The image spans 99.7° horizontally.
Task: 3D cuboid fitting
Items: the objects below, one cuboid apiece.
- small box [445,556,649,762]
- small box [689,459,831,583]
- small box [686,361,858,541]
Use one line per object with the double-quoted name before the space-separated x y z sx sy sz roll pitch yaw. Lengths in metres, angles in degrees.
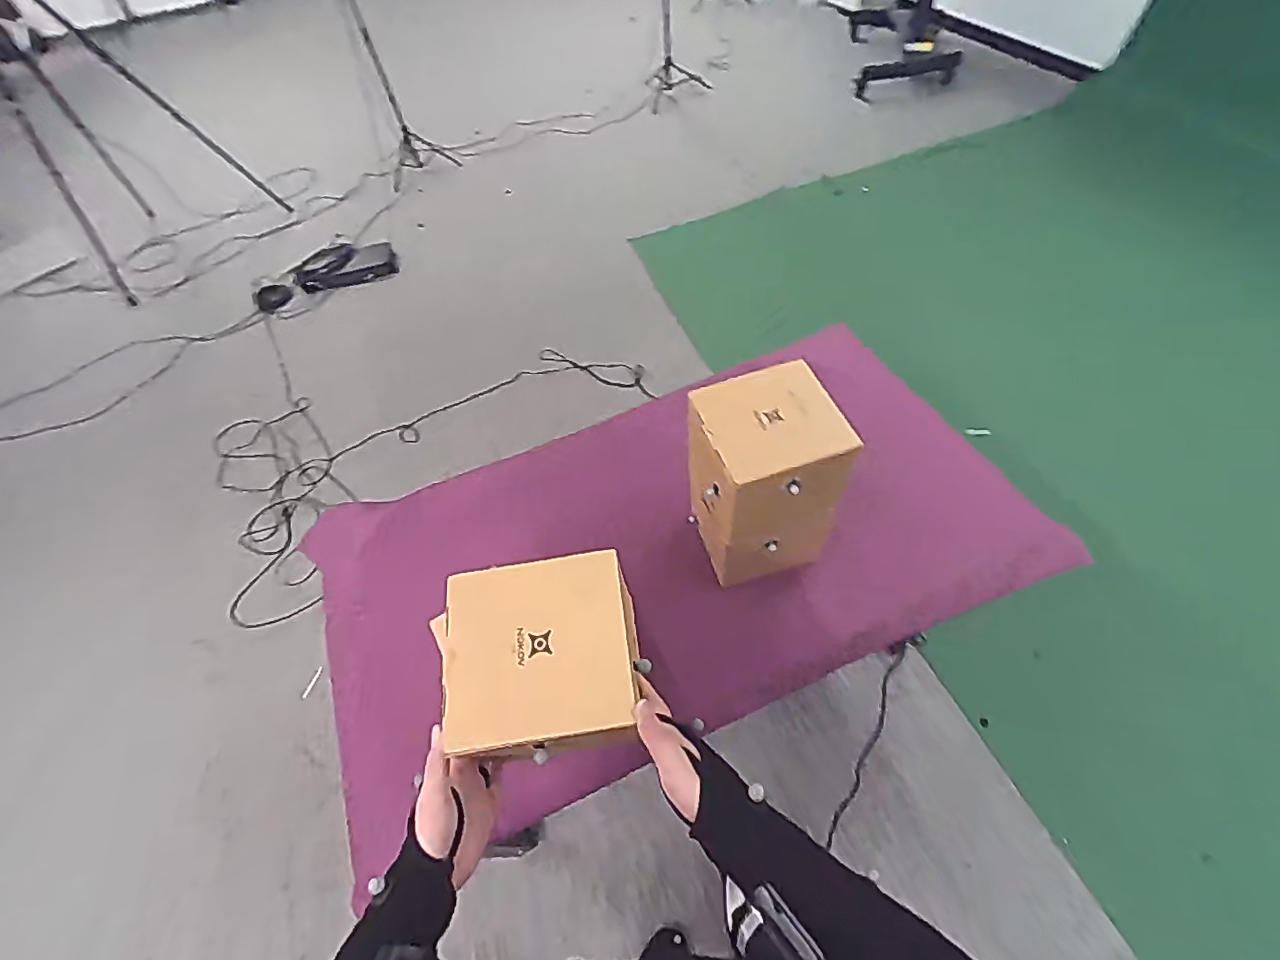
"small box" -0.086 0.195 0.574 0.179 0.176 0.168 -10 62 2
"small box" 0.191 0.052 0.910 0.179 0.176 0.168 -16 56 -6
"small box" 0.176 -0.035 0.773 0.179 0.176 0.168 -17 57 -6
